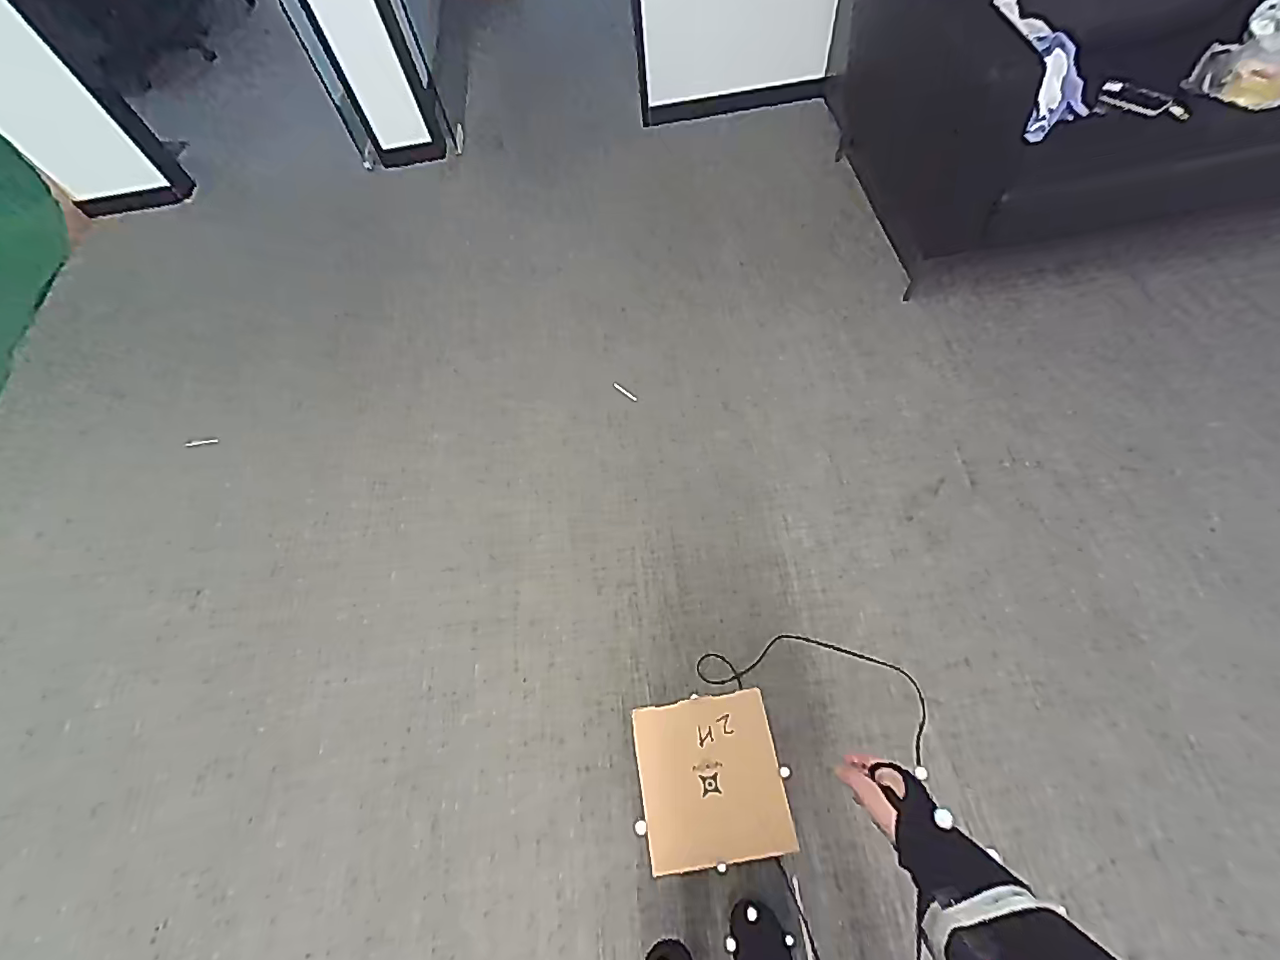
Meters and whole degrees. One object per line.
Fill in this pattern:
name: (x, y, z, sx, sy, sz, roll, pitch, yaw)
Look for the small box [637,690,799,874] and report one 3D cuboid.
small box: (0.097, 0.389, 0.712, 0.168, 0.176, 0.179, -11, 61, 1)
